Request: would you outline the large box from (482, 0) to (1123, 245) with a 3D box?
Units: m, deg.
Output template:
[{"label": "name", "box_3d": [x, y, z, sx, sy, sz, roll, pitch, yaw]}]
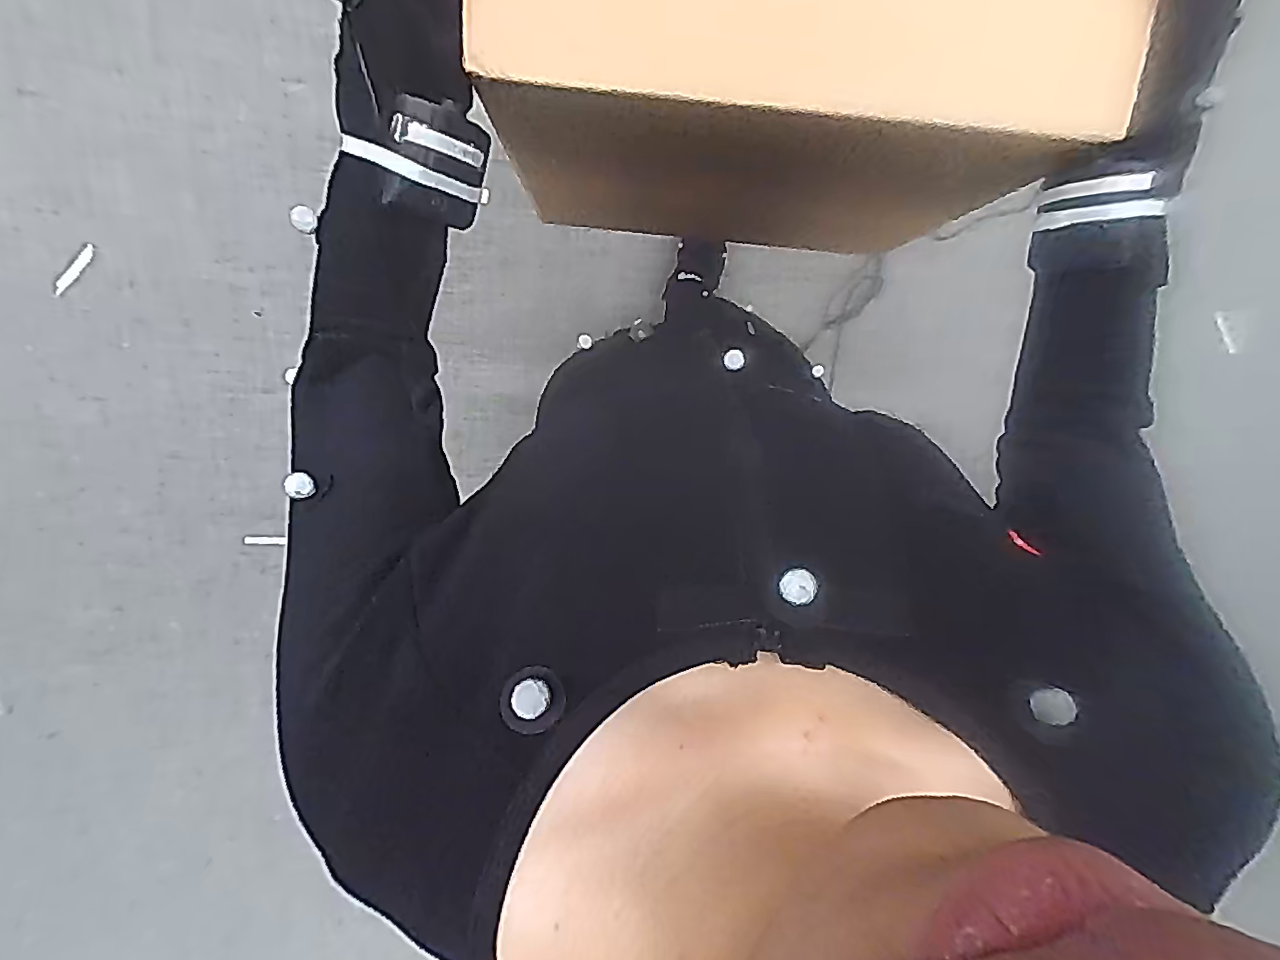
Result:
[{"label": "large box", "box_3d": [0.100, -0.412, 0.462, 0.408, 0.320, 0.320, 4, 100, -3]}]
